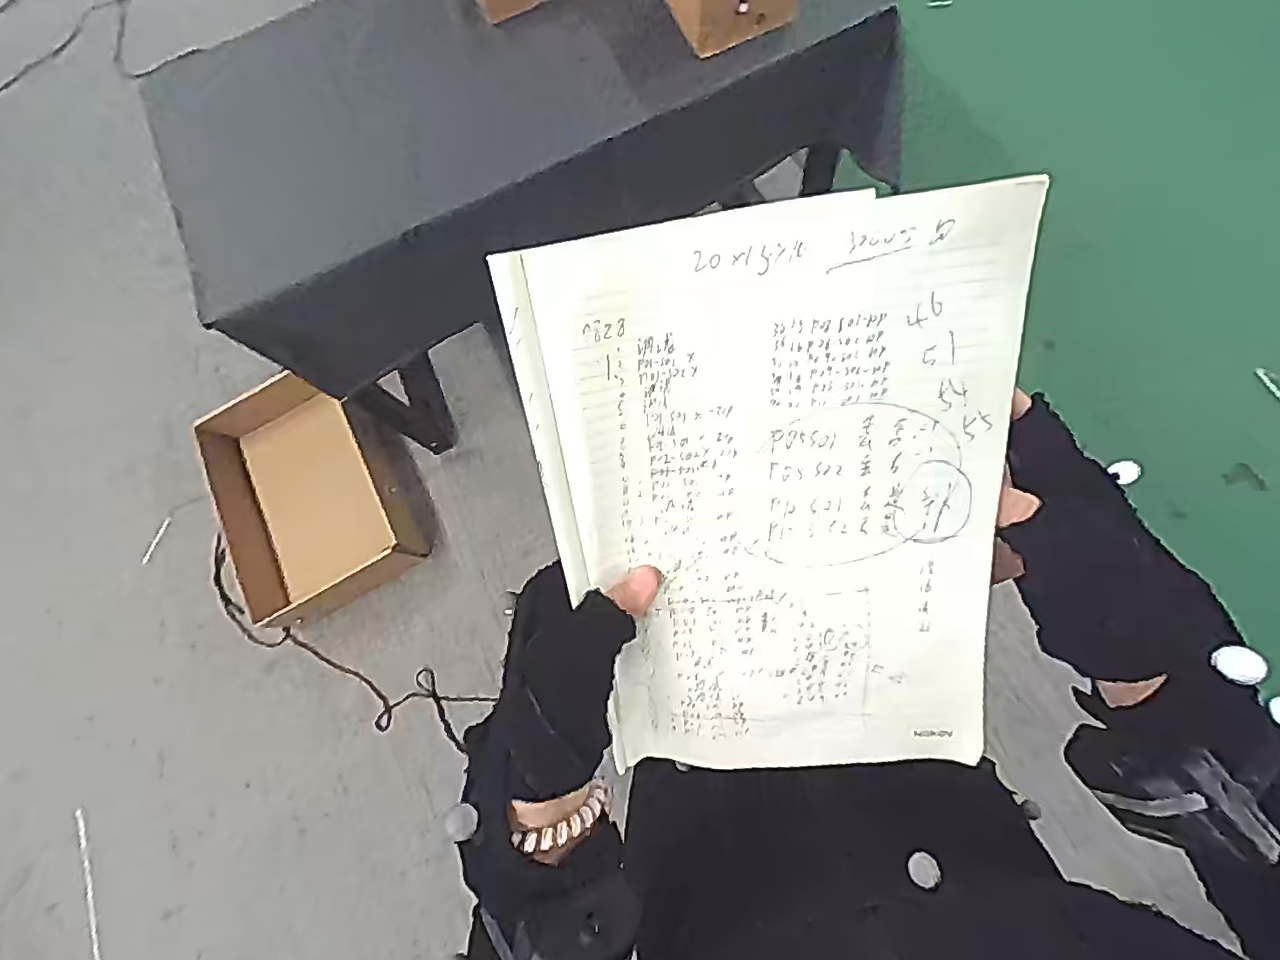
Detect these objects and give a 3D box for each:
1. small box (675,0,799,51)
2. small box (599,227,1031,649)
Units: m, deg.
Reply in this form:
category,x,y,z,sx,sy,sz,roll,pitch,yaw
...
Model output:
category,x,y,z,sx,sy,sz,roll,pitch,yaw
small box,0.141,-0.811,0.818,0.168,0.176,0.179,-22,73,1
small box,0.088,-0.025,0.343,0.179,0.176,0.168,-20,97,3
